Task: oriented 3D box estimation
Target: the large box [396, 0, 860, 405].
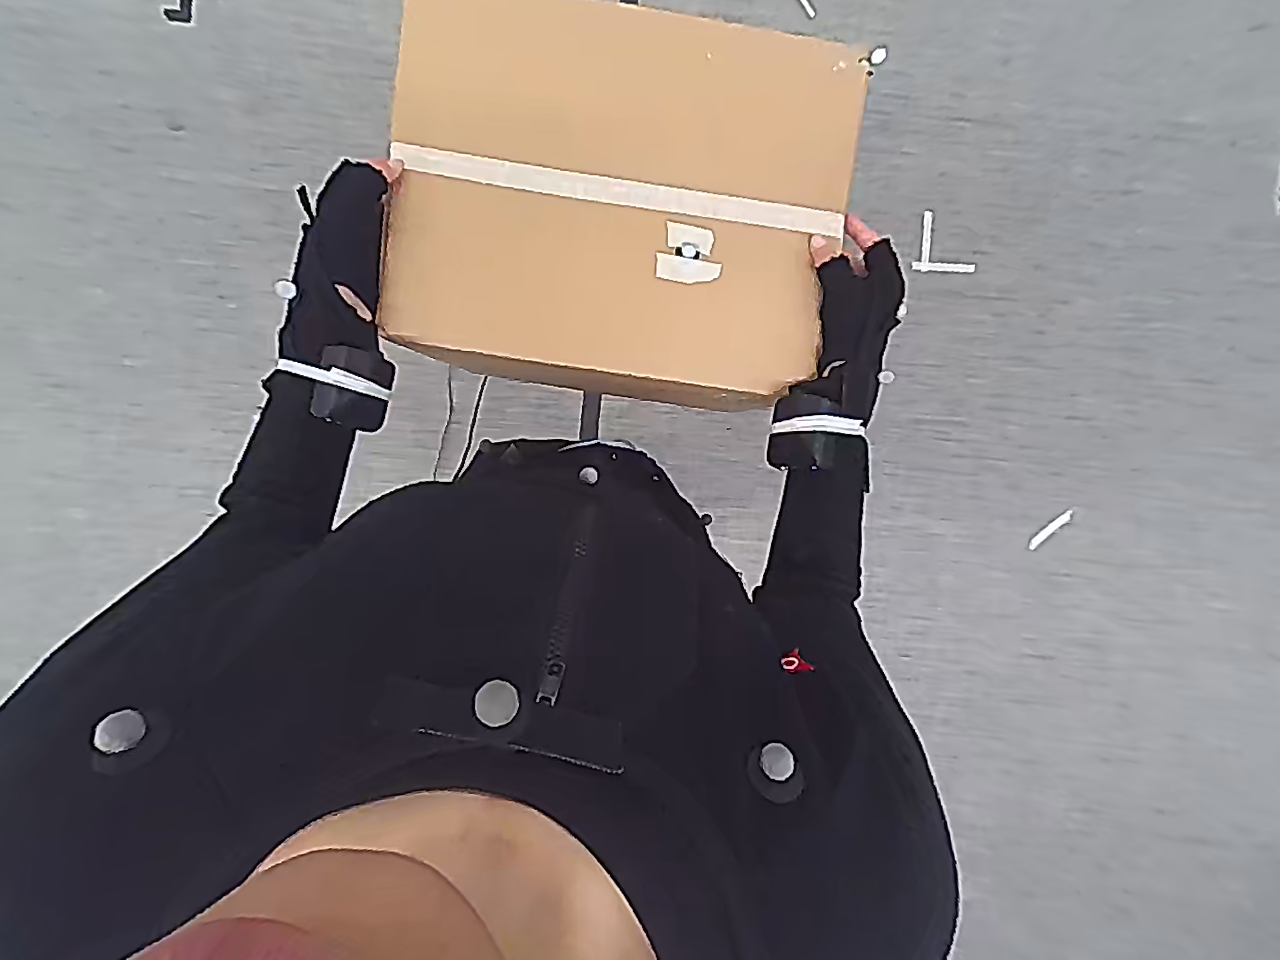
[{"bbox_3d":[-0.020,-0.274,0.646,0.408,0.320,0.320,8,96,-3],"label":"large box"}]
